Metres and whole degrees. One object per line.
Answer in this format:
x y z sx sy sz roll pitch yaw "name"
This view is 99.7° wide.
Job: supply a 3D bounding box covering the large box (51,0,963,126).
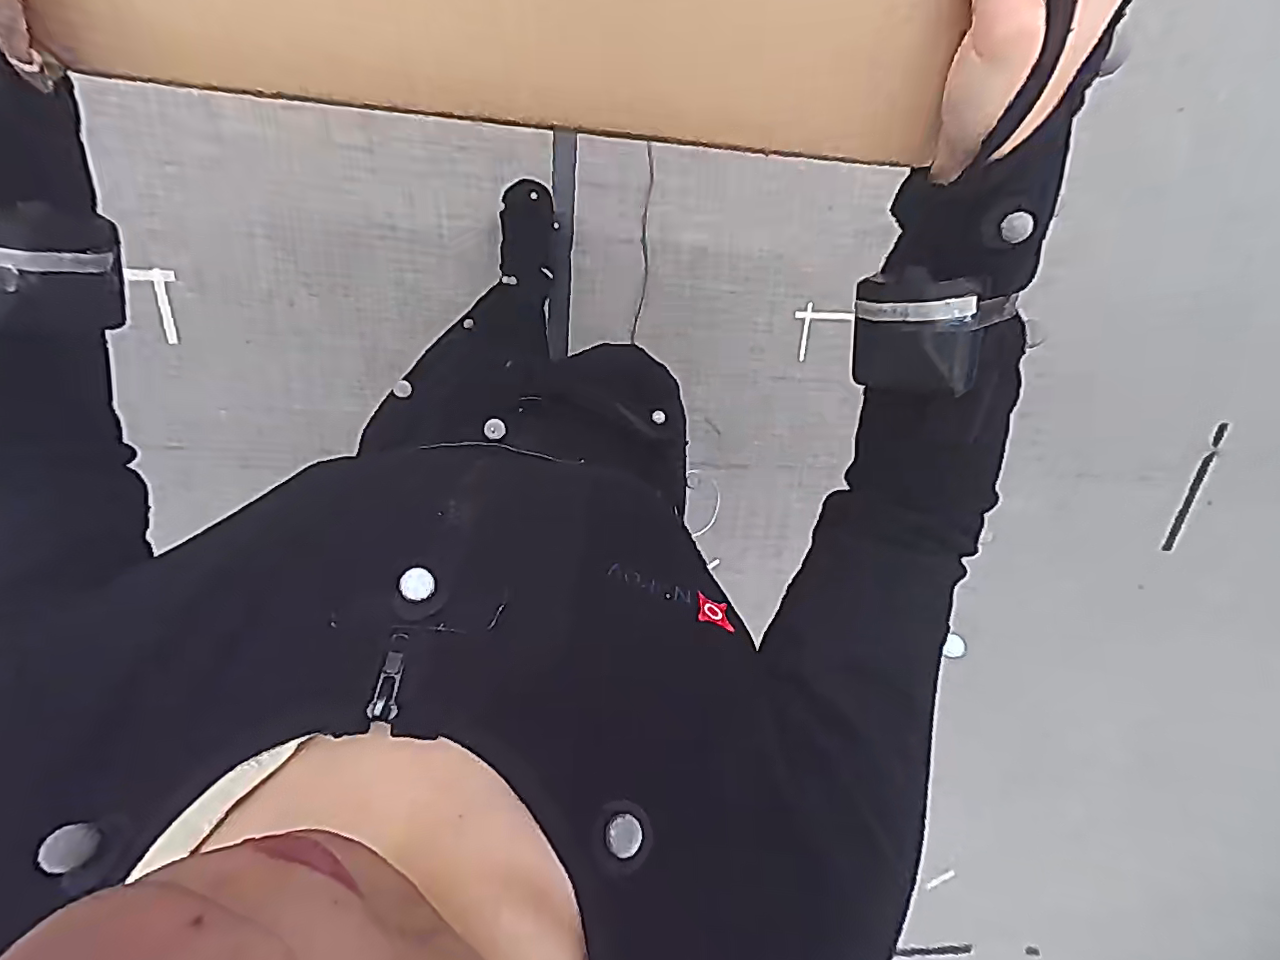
-0.049 -0.393 0.293 0.408 0.320 0.320 4 124 -3 "large box"
